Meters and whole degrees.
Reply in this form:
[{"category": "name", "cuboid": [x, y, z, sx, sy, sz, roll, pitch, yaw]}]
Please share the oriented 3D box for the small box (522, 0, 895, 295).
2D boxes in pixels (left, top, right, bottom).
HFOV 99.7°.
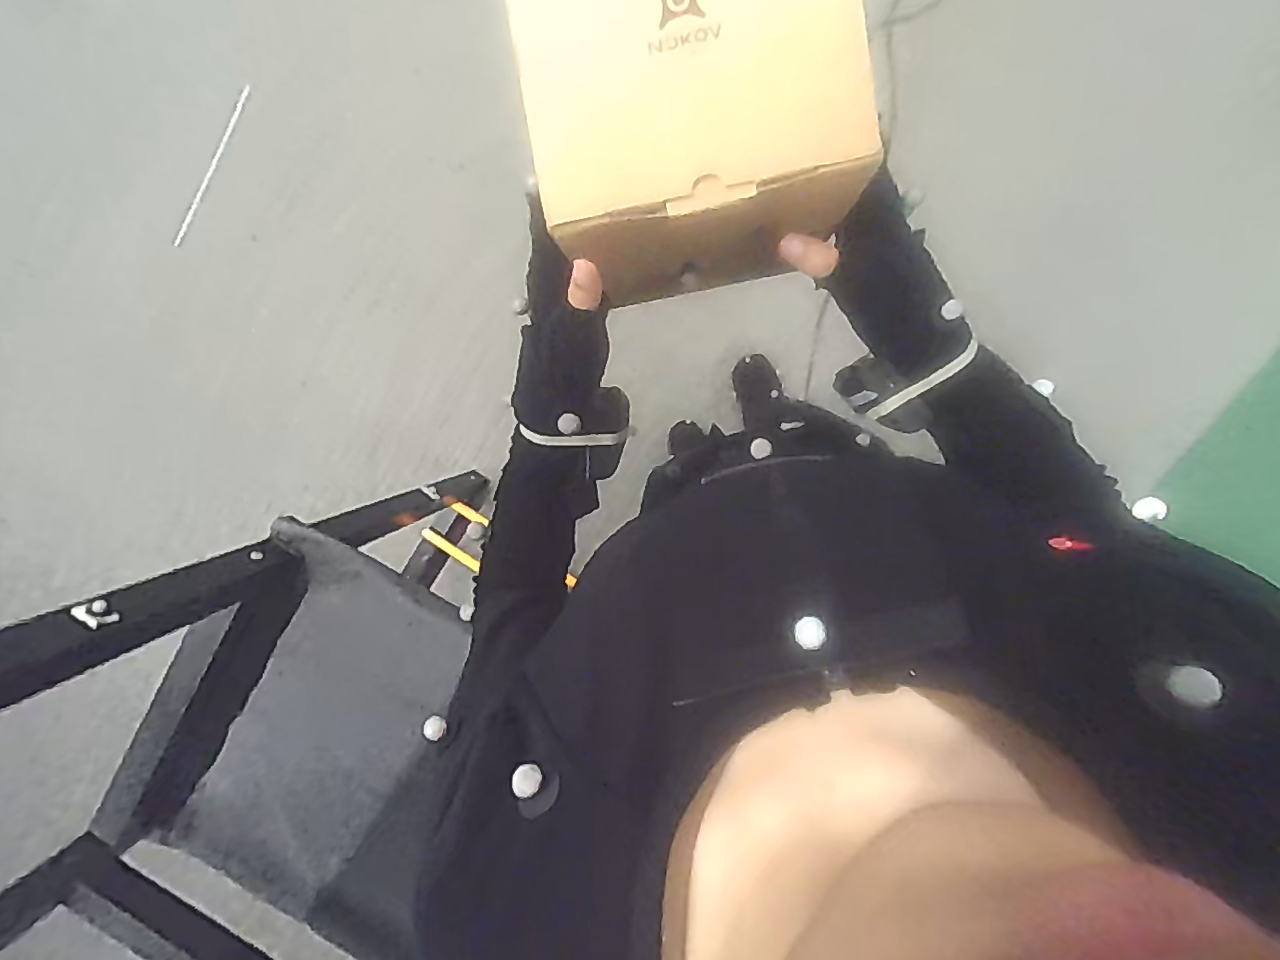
[{"category": "small box", "cuboid": [0.033, -0.234, 0.332, 0.168, 0.176, 0.179, -9, 95, 7]}]
